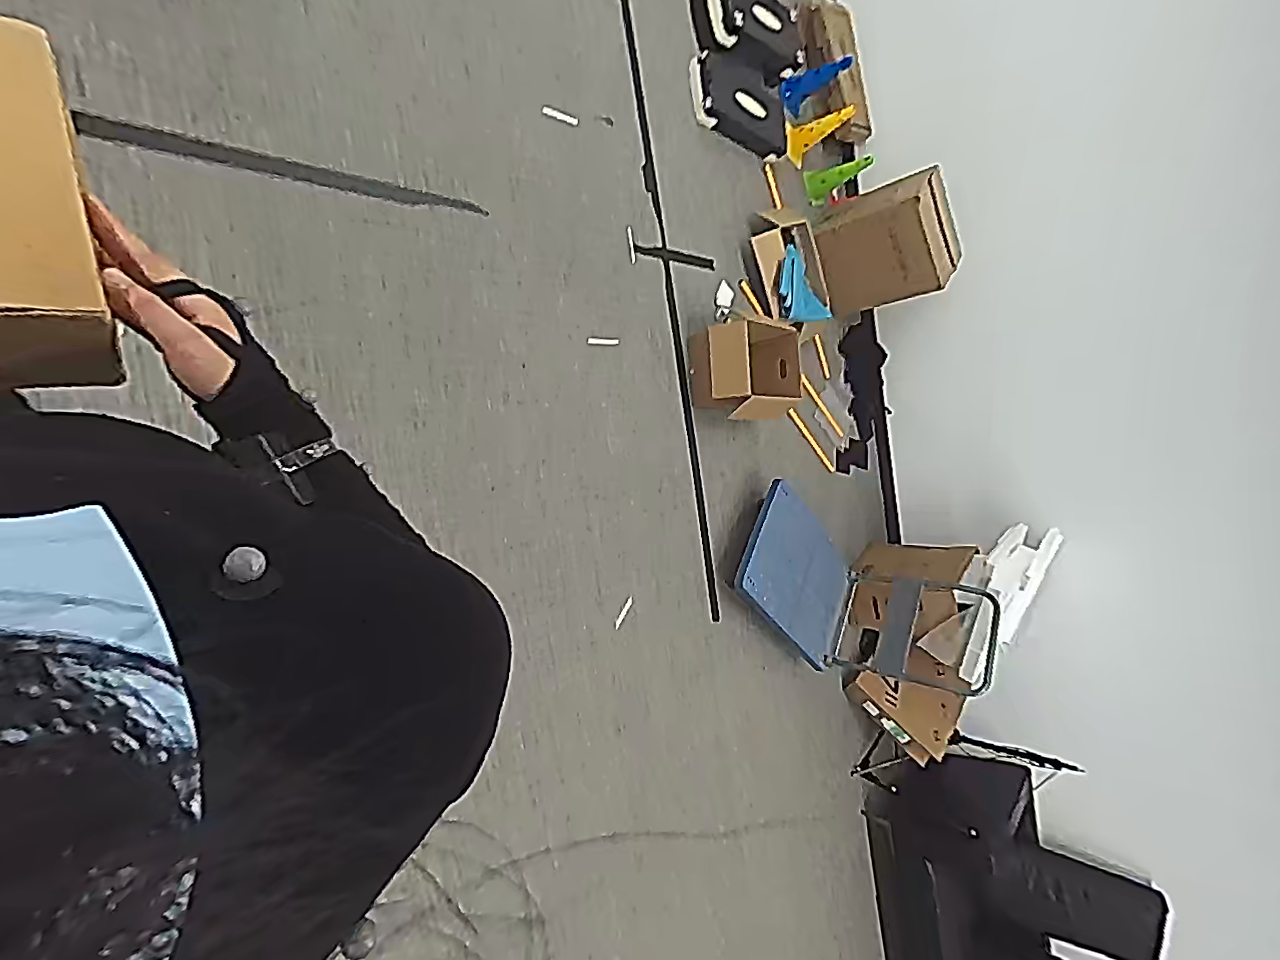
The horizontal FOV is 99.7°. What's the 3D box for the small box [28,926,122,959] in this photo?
[{"bbox_3d":[-1.017,0.934,0.941,0.168,0.176,0.179,-15,98,-44],"label":"small box"}]
